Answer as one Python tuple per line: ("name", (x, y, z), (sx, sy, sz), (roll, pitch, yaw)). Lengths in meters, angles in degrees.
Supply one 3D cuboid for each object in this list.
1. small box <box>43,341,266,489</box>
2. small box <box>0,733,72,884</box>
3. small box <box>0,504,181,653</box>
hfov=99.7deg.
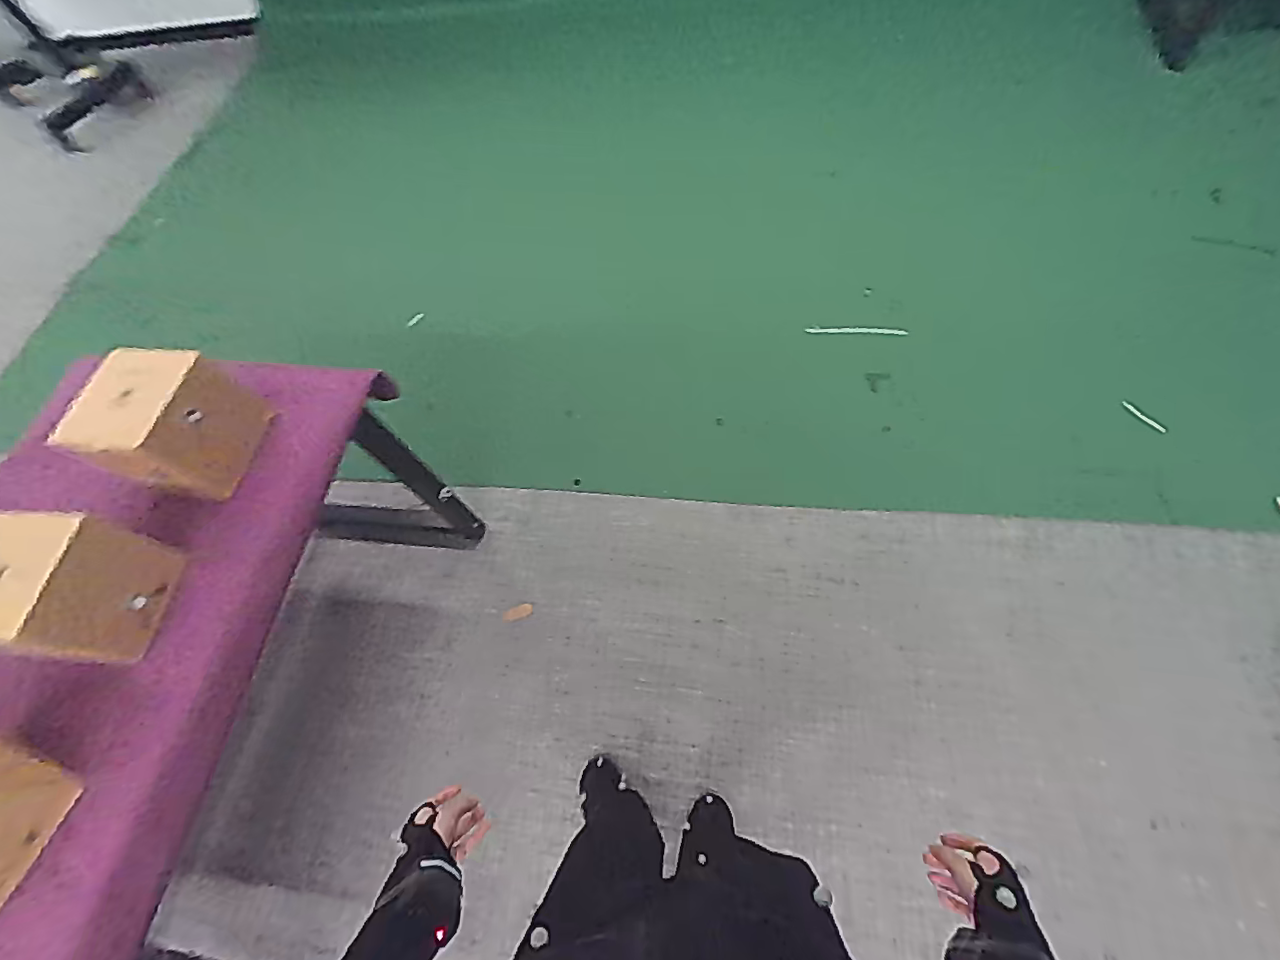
("small box", (-0.755, -0.099, 0.866), (0.168, 0.176, 0.179), (5, 64, 11))
("small box", (-0.847, 0.402, 0.628), (0.179, 0.176, 0.168), (15, 67, 15))
("small box", (-0.814, 0.142, 0.753), (0.179, 0.176, 0.168), (1, 64, 7))
